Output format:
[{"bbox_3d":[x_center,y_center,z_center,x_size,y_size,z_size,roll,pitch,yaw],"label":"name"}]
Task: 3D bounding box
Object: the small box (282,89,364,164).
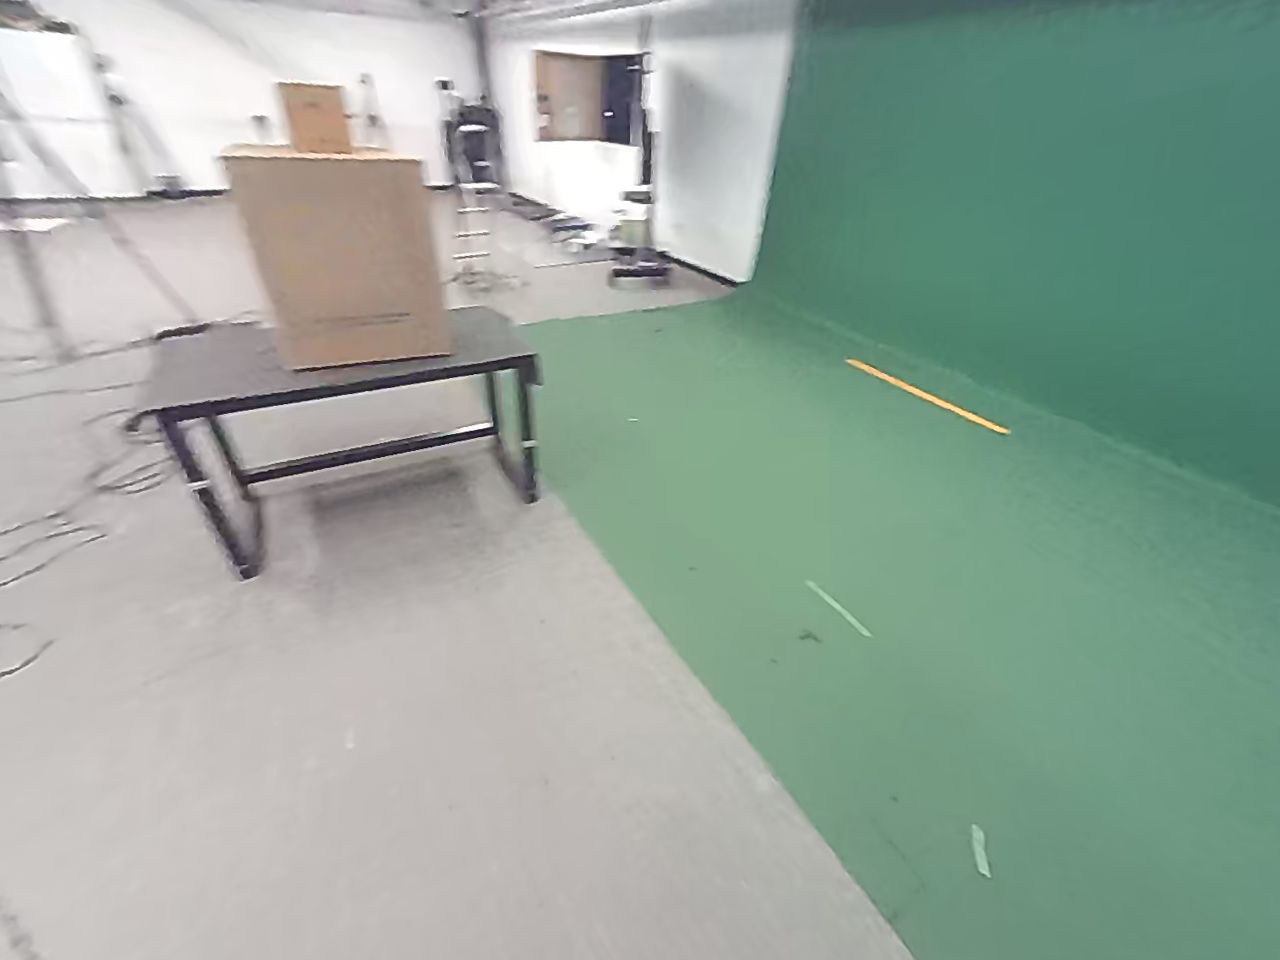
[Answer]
[{"bbox_3d":[-0.930,-1.046,1.603,0.179,0.176,0.168,-11,40,-20],"label":"small box"}]
